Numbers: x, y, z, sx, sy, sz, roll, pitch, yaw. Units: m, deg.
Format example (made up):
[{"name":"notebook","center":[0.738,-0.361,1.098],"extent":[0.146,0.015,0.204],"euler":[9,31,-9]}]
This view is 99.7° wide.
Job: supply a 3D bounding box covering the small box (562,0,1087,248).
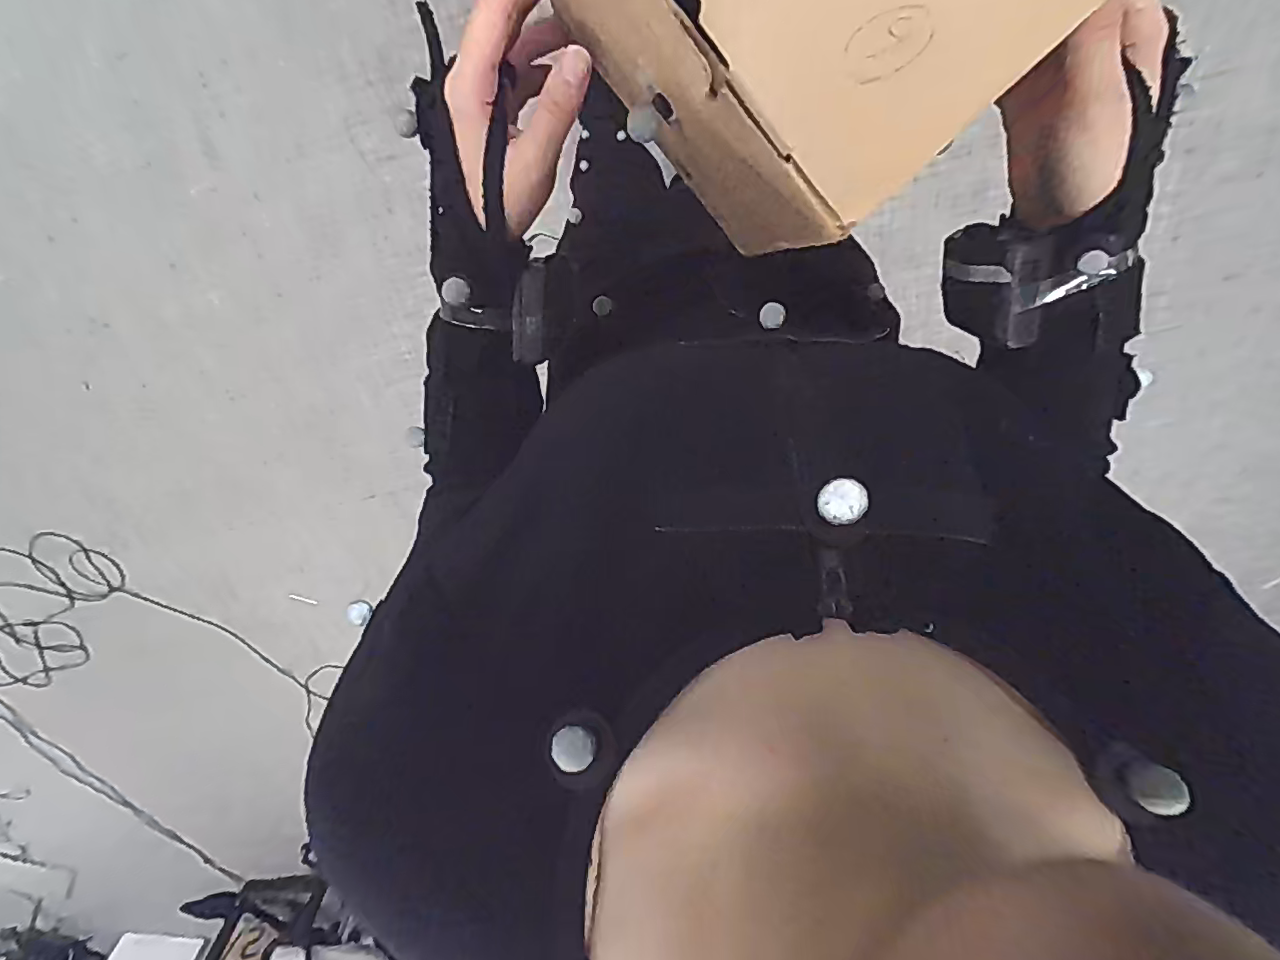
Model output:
[{"name":"small box","center":[0.072,-0.220,0.224],"extent":[0.179,0.176,0.168],"euler":[-41,105,14]}]
